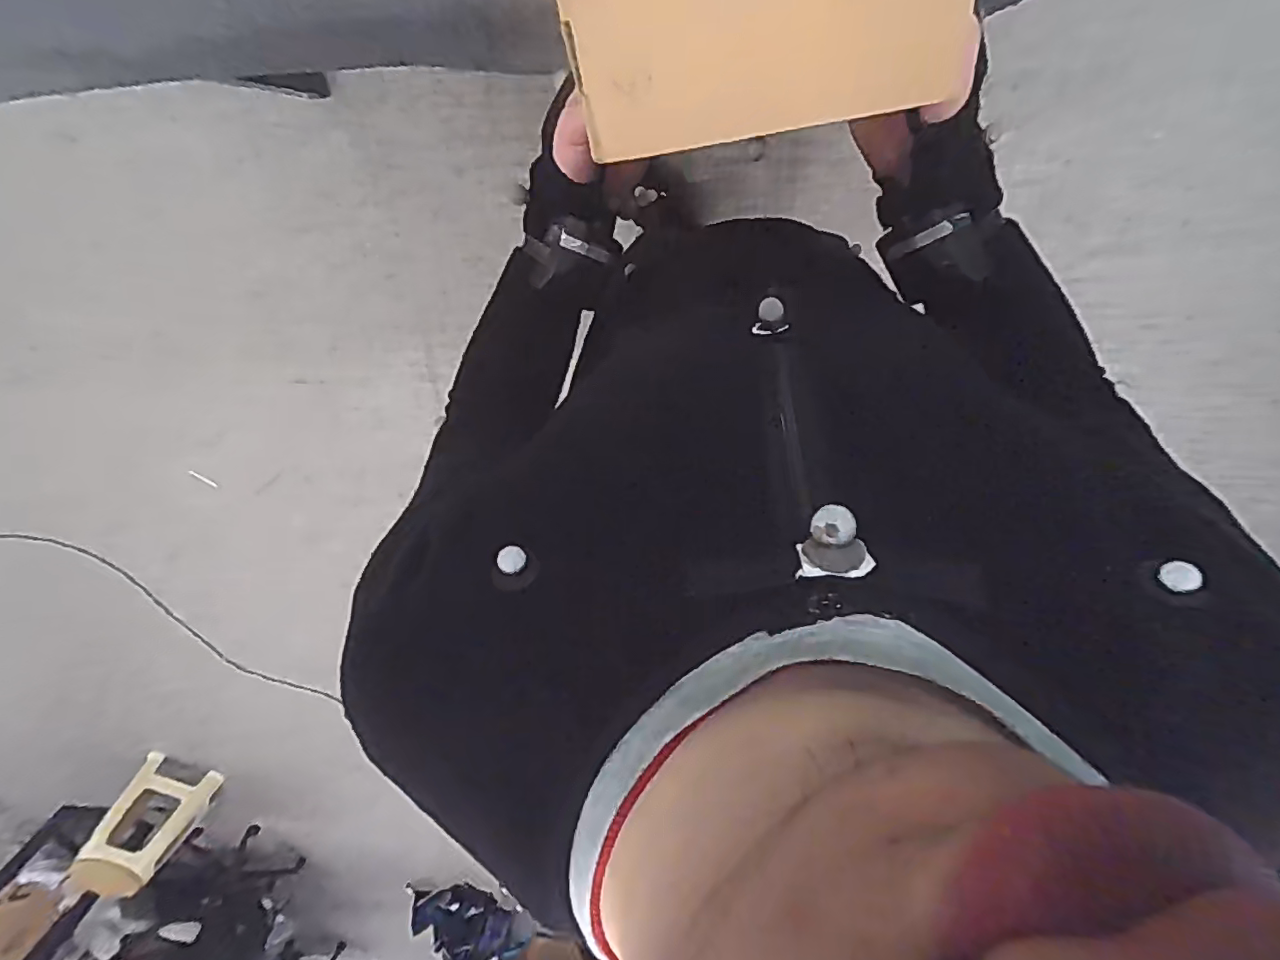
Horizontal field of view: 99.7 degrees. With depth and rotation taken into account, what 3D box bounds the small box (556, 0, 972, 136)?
[{"bbox_3d":[0.057,-0.288,0.268,0.179,0.176,0.168,-1,128,15],"label":"small box"}]
